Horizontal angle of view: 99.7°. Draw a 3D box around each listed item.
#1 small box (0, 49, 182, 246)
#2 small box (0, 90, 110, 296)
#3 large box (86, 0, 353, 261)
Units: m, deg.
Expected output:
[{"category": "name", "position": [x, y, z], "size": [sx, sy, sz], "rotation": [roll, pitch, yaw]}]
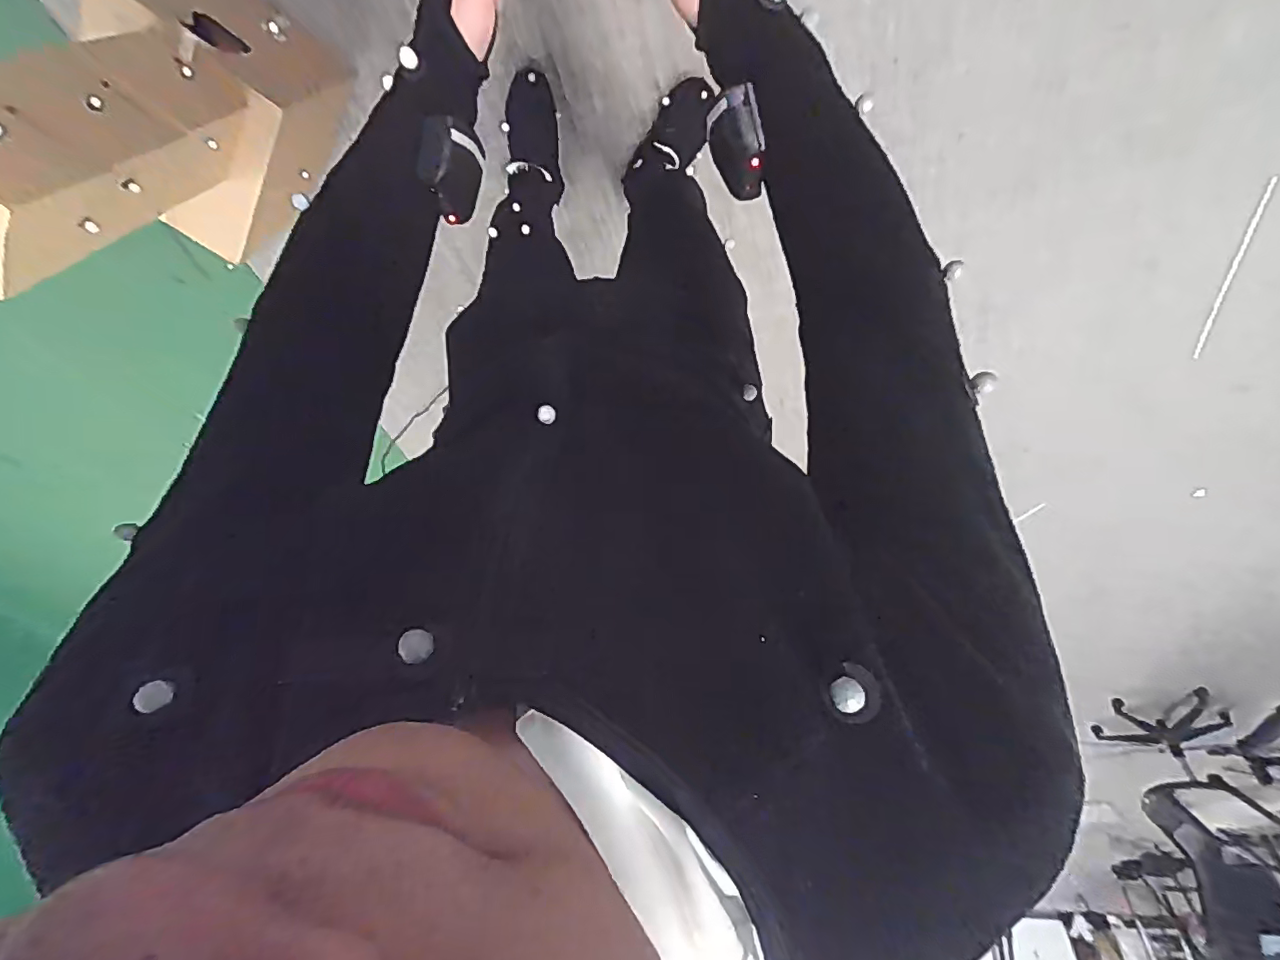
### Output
[{"category": "small box", "position": [-0.855, -0.509, 0.828], "size": [0.168, 0.176, 0.179], "rotation": [37, 128, -27]}, {"category": "small box", "position": [-0.864, -0.390, 0.715], "size": [0.168, 0.176, 0.179], "rotation": [37, 127, -28]}, {"category": "large box", "position": [-0.879, -0.775, 1.148], "size": [0.320, 0.320, 0.408], "rotation": [33, 131, -24]}]
